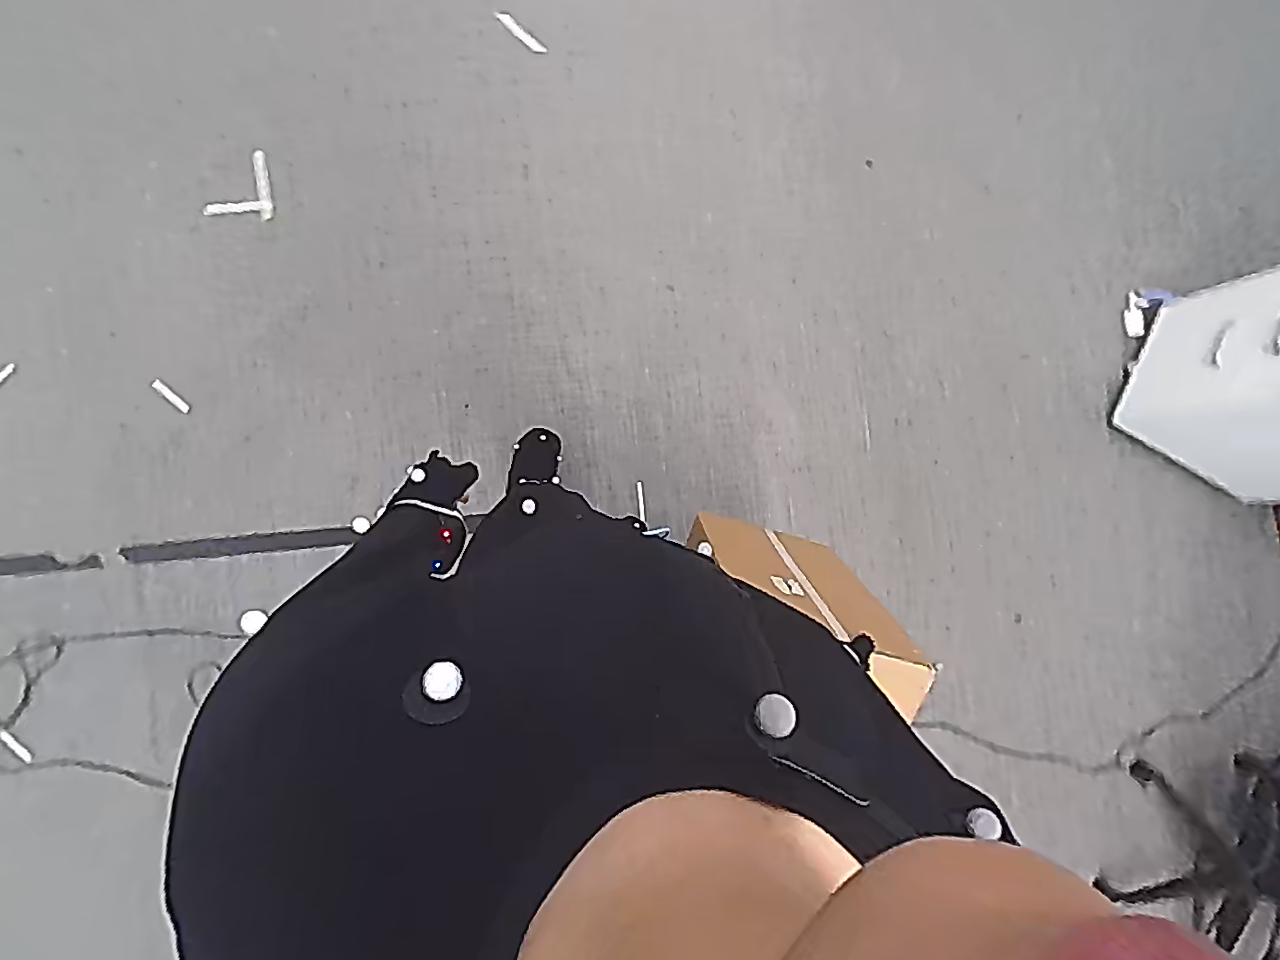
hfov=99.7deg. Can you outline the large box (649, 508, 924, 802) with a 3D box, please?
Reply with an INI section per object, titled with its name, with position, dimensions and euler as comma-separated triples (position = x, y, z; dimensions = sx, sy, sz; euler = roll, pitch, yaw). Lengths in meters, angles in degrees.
[large box]
position = 0.221, 0.299, 1.013
dimensions = 0.320, 0.408, 0.320
euler = 14, 109, -10
